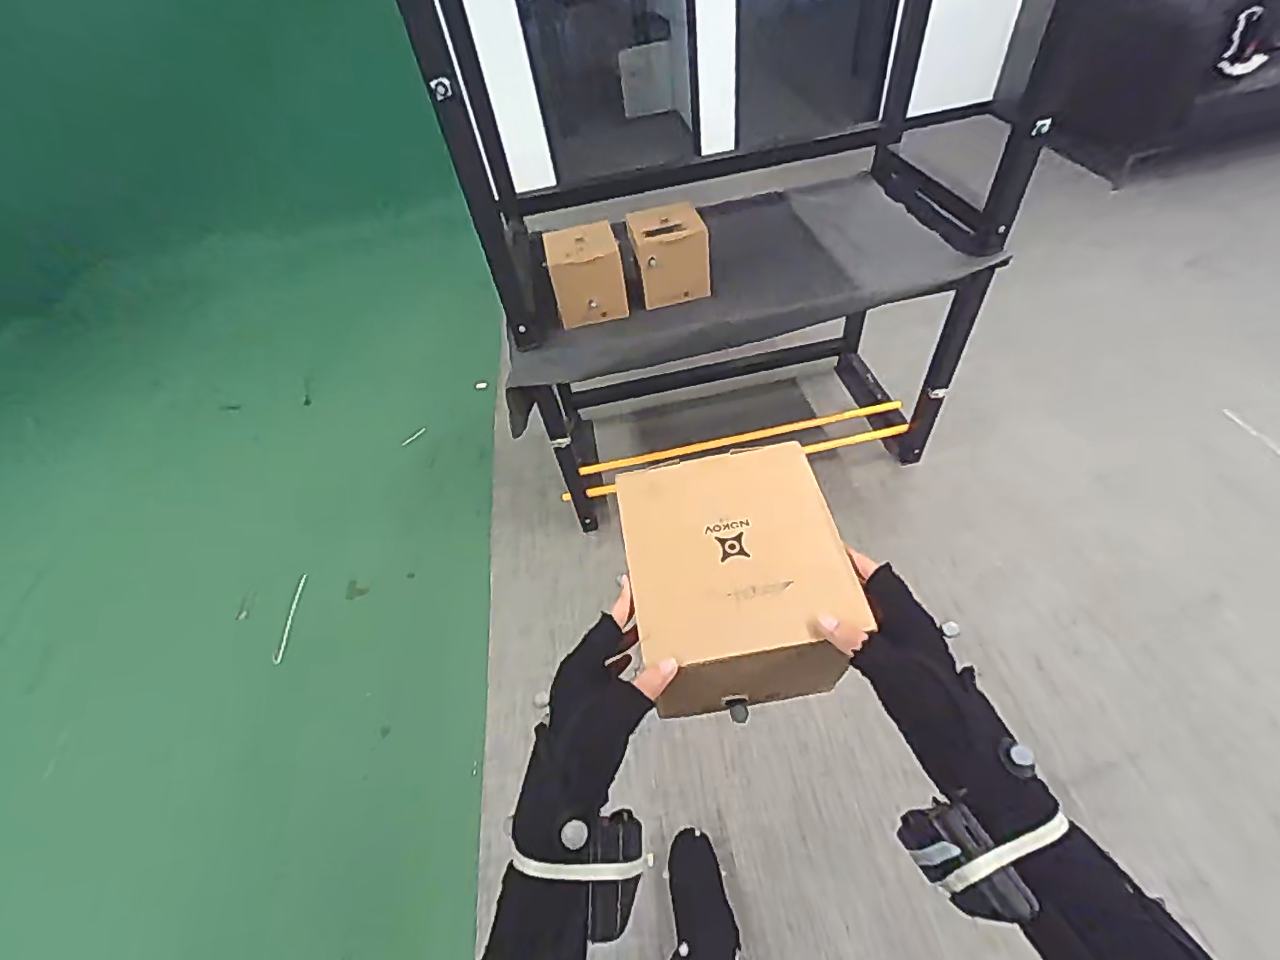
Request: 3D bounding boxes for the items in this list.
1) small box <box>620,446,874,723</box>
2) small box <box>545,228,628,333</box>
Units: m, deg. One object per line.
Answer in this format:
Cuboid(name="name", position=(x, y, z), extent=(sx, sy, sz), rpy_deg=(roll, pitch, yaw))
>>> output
Cuboid(name="small box", position=(0.079, 0.098, 0.487), extent=(0.168, 0.176, 0.179), rpy_deg=(-10, 54, 0))
Cuboid(name="small box", position=(-0.130, -0.487, 1.325), extent=(0.168, 0.176, 0.179), rpy_deg=(-13, 48, -2))
